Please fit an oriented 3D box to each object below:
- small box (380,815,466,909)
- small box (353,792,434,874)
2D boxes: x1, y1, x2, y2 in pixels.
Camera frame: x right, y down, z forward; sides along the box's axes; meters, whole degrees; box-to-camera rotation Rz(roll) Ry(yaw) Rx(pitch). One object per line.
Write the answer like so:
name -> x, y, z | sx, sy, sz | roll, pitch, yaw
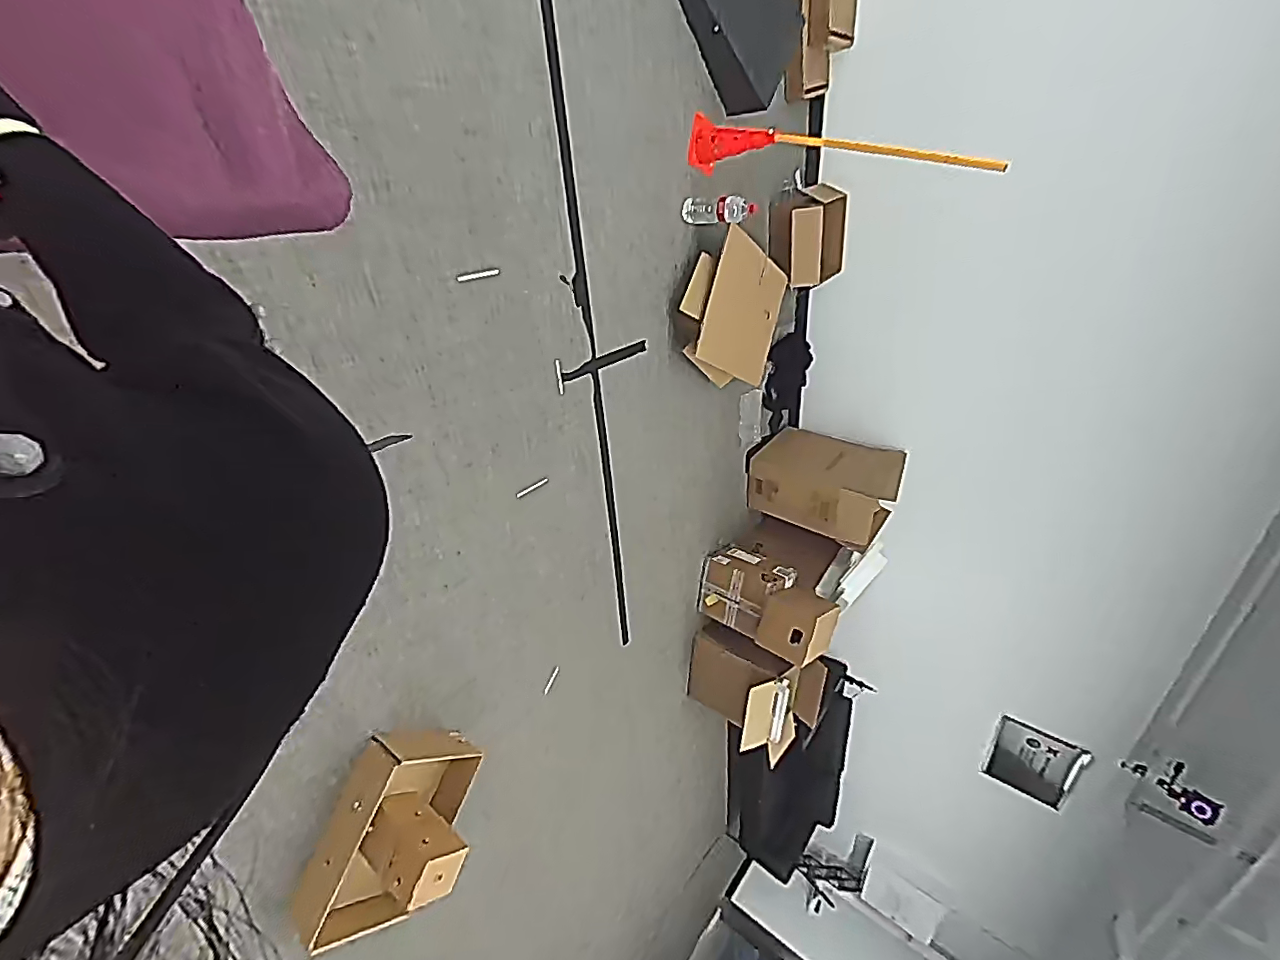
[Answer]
small box -> -0.725, 1.259, 1.797 | 0.179, 0.176, 0.168 | 27, 85, -56
small box -> -0.854, 1.220, 1.887 | 0.179, 0.176, 0.168 | 34, 77, -54
